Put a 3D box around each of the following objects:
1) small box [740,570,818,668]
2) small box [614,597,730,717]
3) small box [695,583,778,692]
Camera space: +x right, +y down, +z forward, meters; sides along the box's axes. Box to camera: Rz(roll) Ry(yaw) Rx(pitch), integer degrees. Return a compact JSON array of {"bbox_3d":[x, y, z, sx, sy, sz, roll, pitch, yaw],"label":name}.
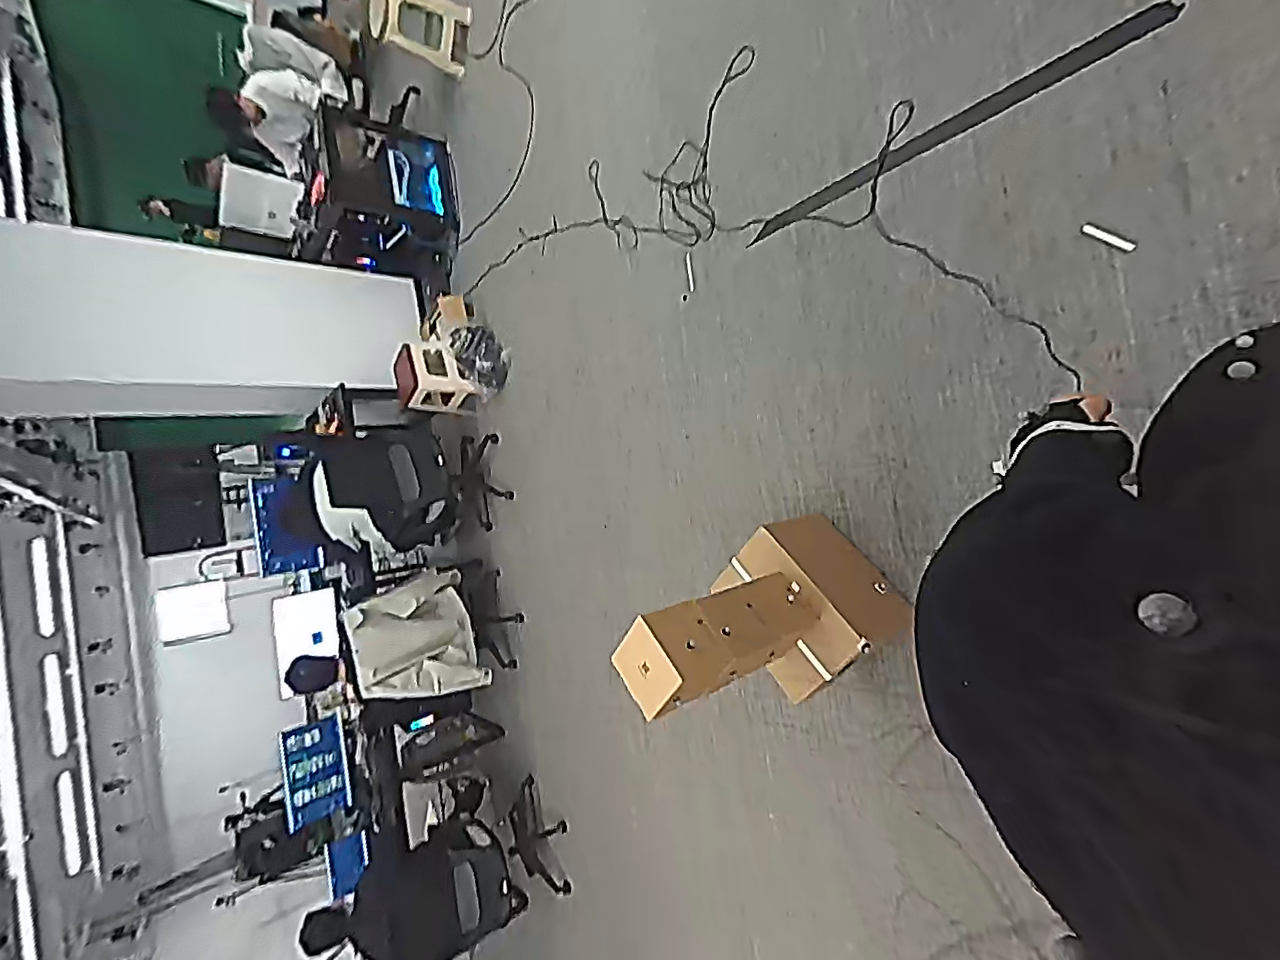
[{"bbox_3d":[0.329,0.361,1.416,0.168,0.176,0.179,53,131,32],"label":"small box"},{"bbox_3d":[0.076,0.388,1.211,0.168,0.176,0.179,52,132,32],"label":"small box"},{"bbox_3d":[0.202,0.378,1.314,0.168,0.176,0.179,53,132,31],"label":"small box"}]
